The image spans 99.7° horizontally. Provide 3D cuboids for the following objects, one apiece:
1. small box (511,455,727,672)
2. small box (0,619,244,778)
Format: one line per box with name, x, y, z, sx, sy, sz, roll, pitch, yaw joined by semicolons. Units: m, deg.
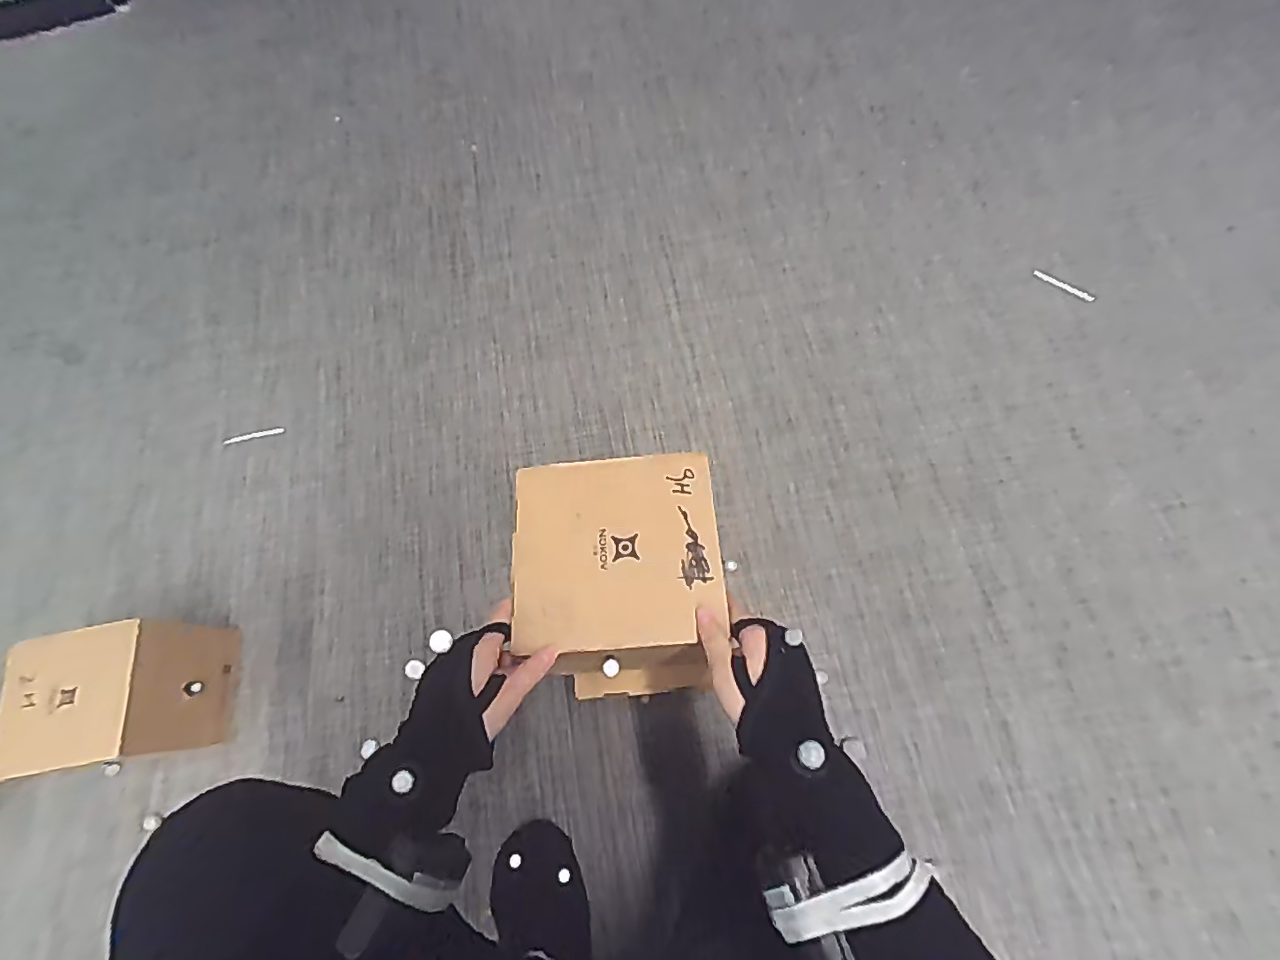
small box;-0.013;0.092;0.531;0.179;0.176;0.168;-5;65;3
small box;-0.693;0.295;0.745;0.179;0.176;0.168;-11;68;2
